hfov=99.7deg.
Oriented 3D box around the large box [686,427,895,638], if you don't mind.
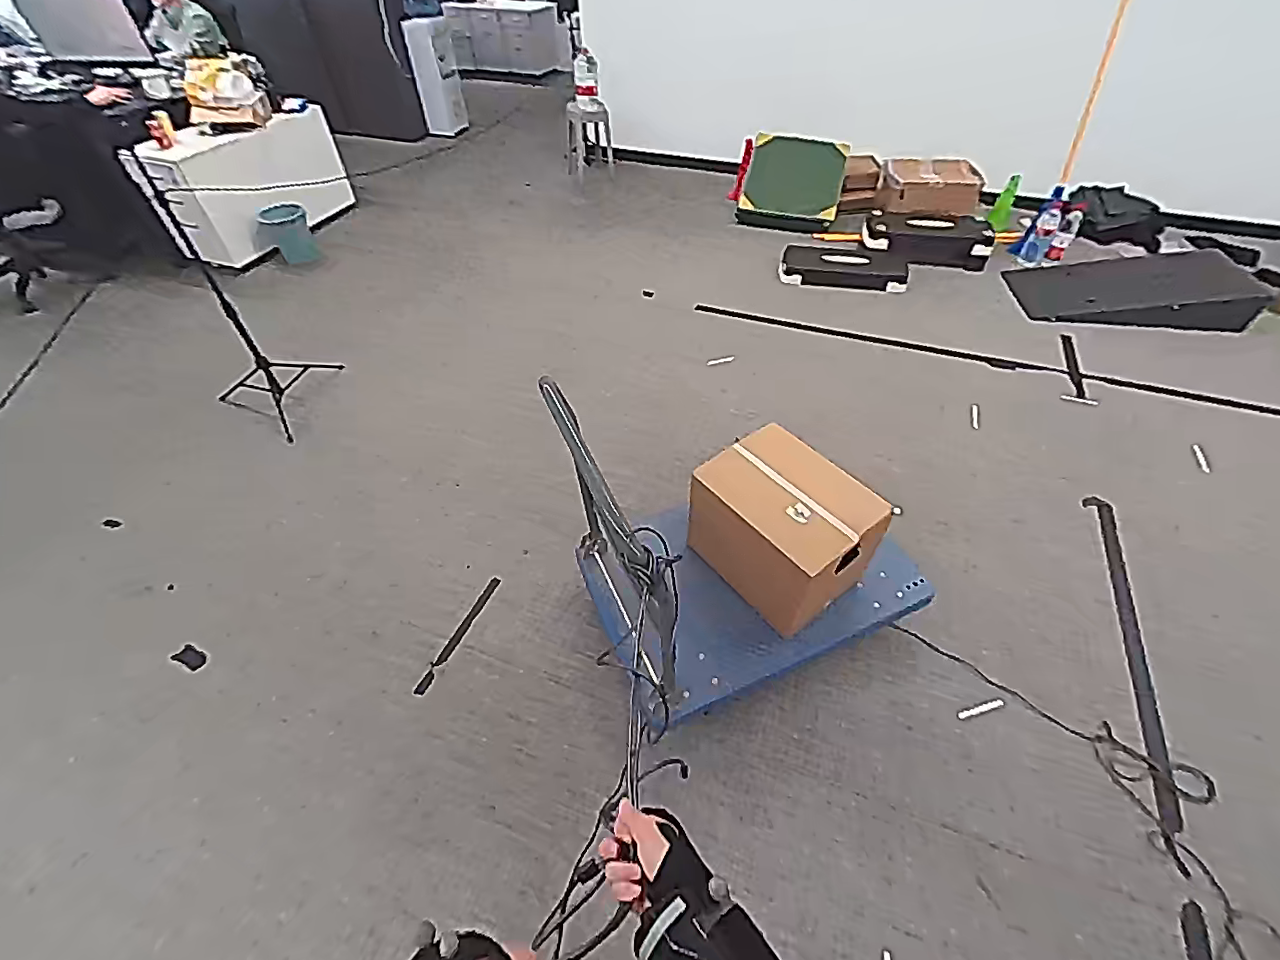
[{"bbox_3d":[0.374,0.132,1.453,0.320,0.320,0.408,-31,55,-23],"label":"large box"}]
